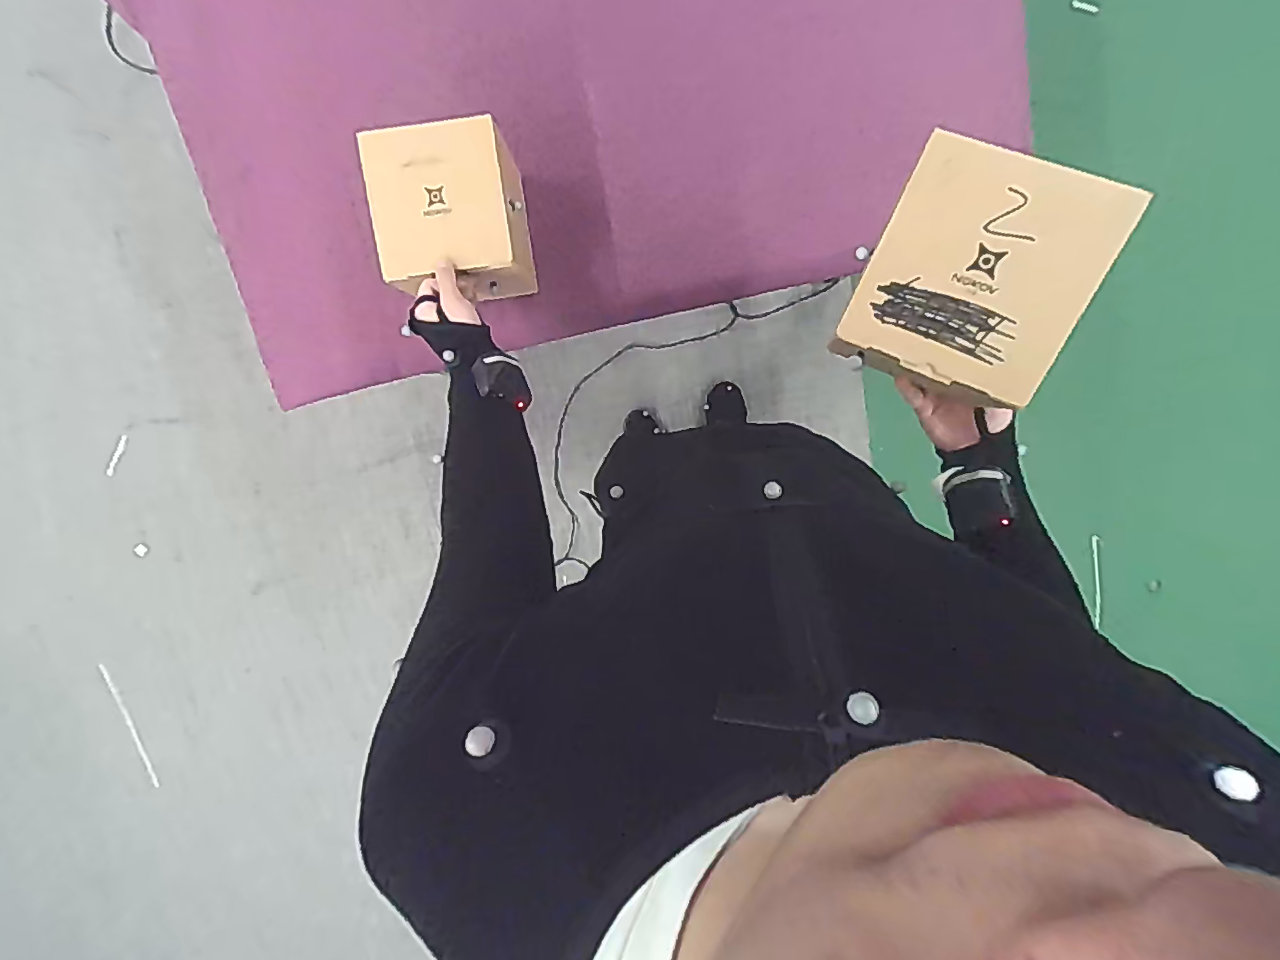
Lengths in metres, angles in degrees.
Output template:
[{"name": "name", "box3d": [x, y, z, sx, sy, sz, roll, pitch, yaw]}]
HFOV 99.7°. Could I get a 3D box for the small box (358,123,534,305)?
[{"name": "small box", "box3d": [-0.249, -0.344, 0.737, 0.168, 0.176, 0.179, -7, 97, 1]}]
